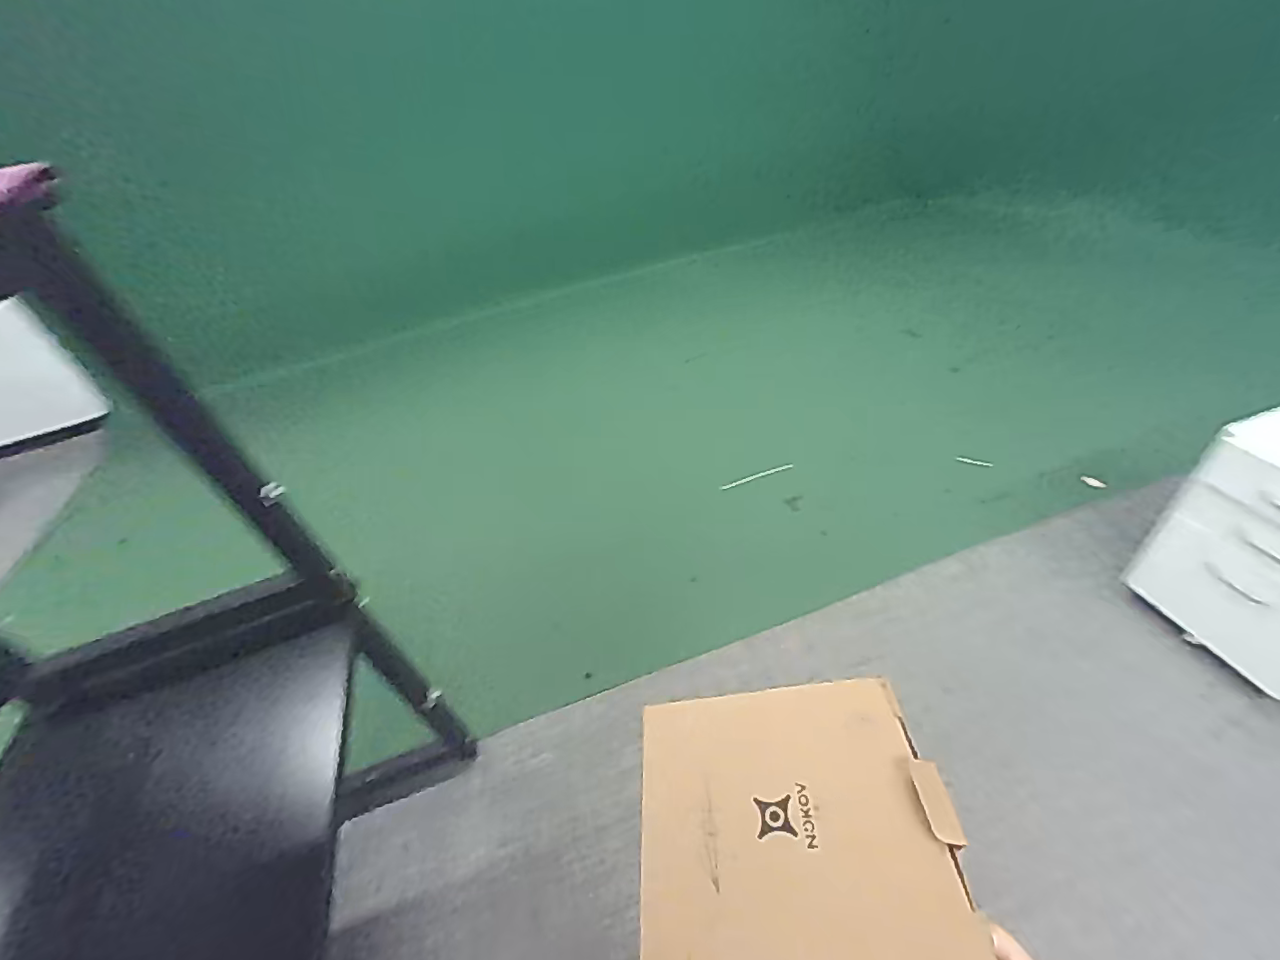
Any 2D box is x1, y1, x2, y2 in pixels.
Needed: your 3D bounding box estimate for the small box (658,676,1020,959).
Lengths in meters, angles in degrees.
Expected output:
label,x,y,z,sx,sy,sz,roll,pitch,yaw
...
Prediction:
label,x,y,z,sx,sy,sz,roll,pitch,yaw
small box,0.116,0.261,0.365,0.179,0.176,0.168,-13,34,11
